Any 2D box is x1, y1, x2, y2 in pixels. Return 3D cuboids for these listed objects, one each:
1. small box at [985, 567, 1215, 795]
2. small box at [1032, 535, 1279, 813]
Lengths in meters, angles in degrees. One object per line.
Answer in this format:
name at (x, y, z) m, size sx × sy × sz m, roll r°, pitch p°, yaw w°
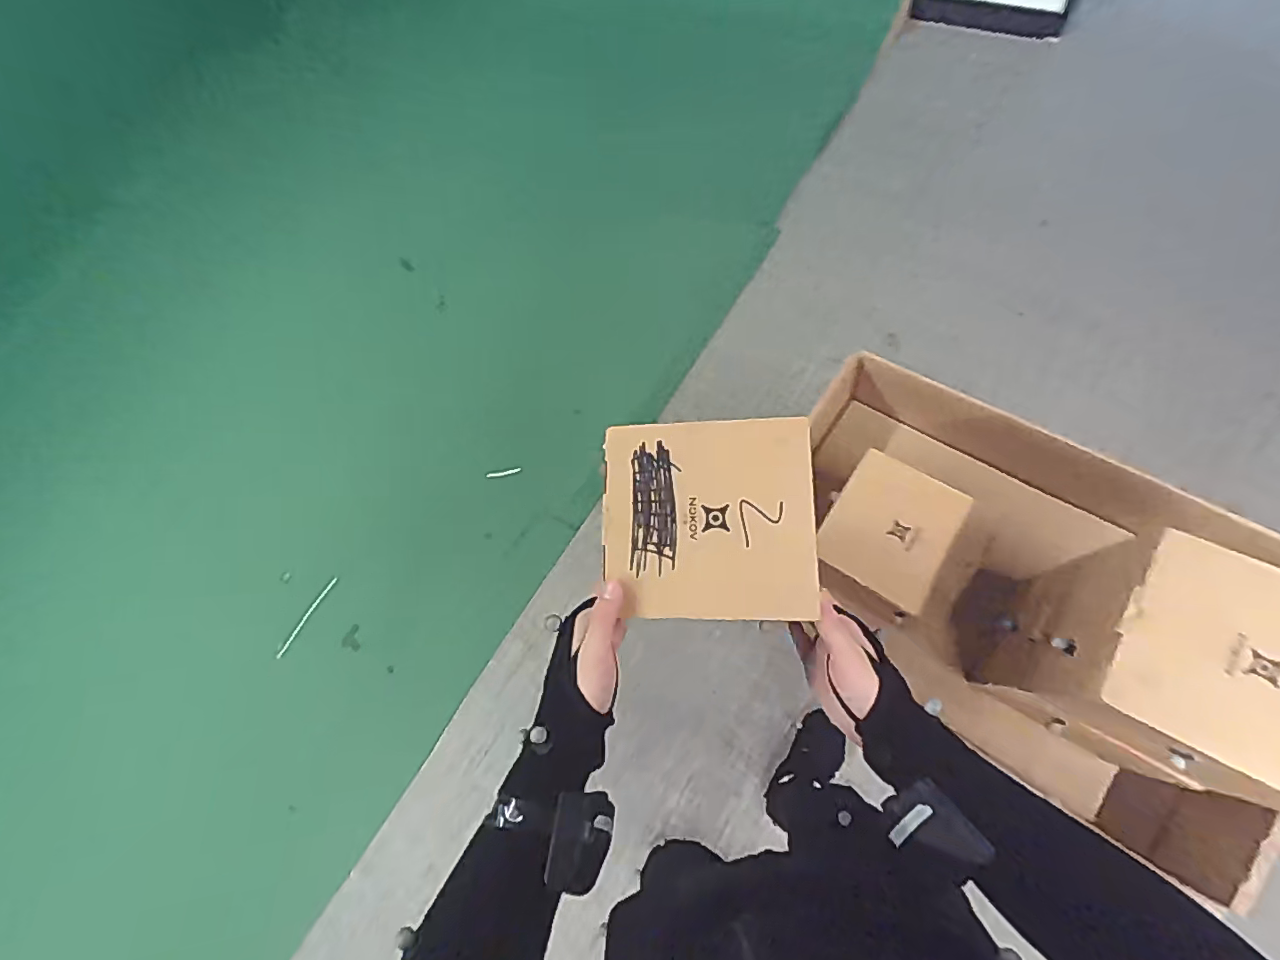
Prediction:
small box at (0.547, 0.229, 0.638) m, size 0.179 × 0.176 × 0.168 m, roll 28°, pitch 81°, yaw 23°
small box at (0.503, 0.176, 0.490) m, size 0.179 × 0.176 × 0.168 m, roll 27°, pitch 81°, yaw 22°
